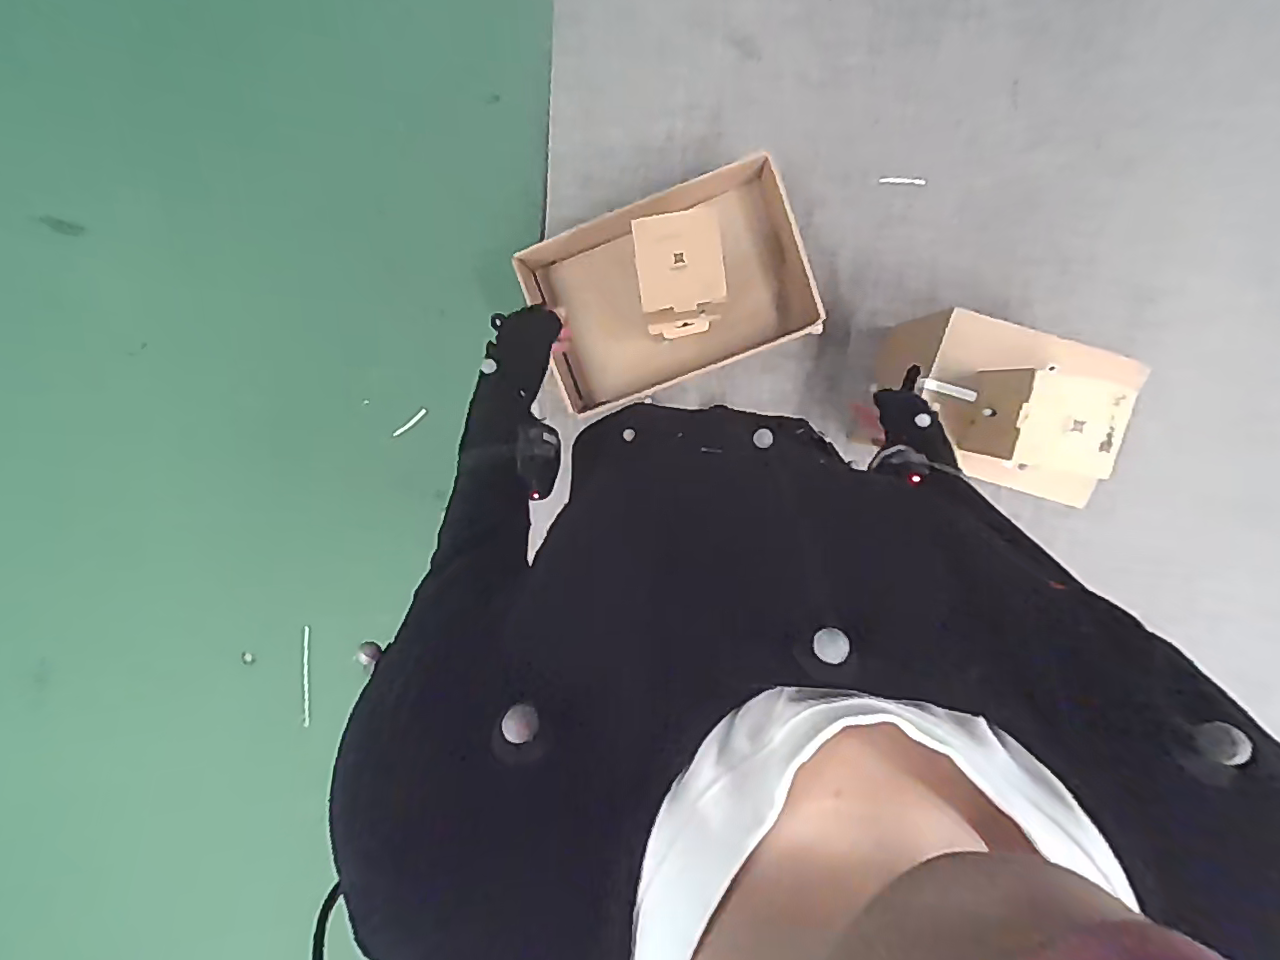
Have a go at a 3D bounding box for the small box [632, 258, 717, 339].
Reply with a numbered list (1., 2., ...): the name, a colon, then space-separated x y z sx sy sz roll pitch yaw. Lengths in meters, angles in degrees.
1. small box: 0.084 -0.436 1.268 0.168 0.176 0.179 -12 96 6

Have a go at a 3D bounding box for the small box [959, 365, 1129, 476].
1. small box: 0.741 -0.114 1.016 0.179 0.176 0.168 11 100 2

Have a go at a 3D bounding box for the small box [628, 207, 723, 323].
1. small box: 0.075 -0.427 1.106 0.168 0.176 0.179 -8 96 4
